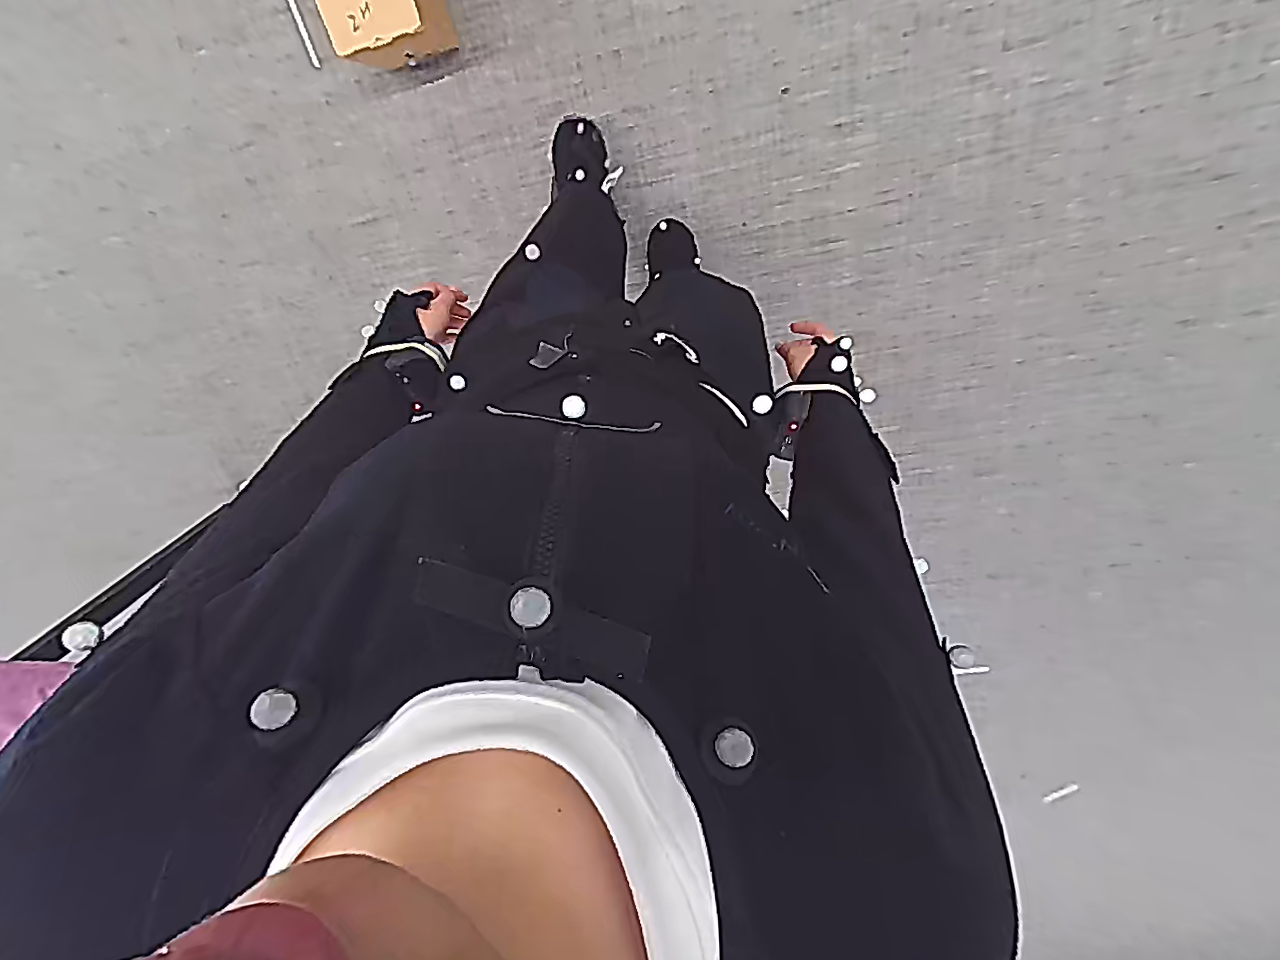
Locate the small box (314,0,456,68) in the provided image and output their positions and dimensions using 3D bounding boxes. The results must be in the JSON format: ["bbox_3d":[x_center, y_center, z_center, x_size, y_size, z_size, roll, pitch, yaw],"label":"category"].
[{"bbox_3d":[-0.448,-0.845,0.929,0.168,0.176,0.179,-9,120,11],"label":"small box"}]
